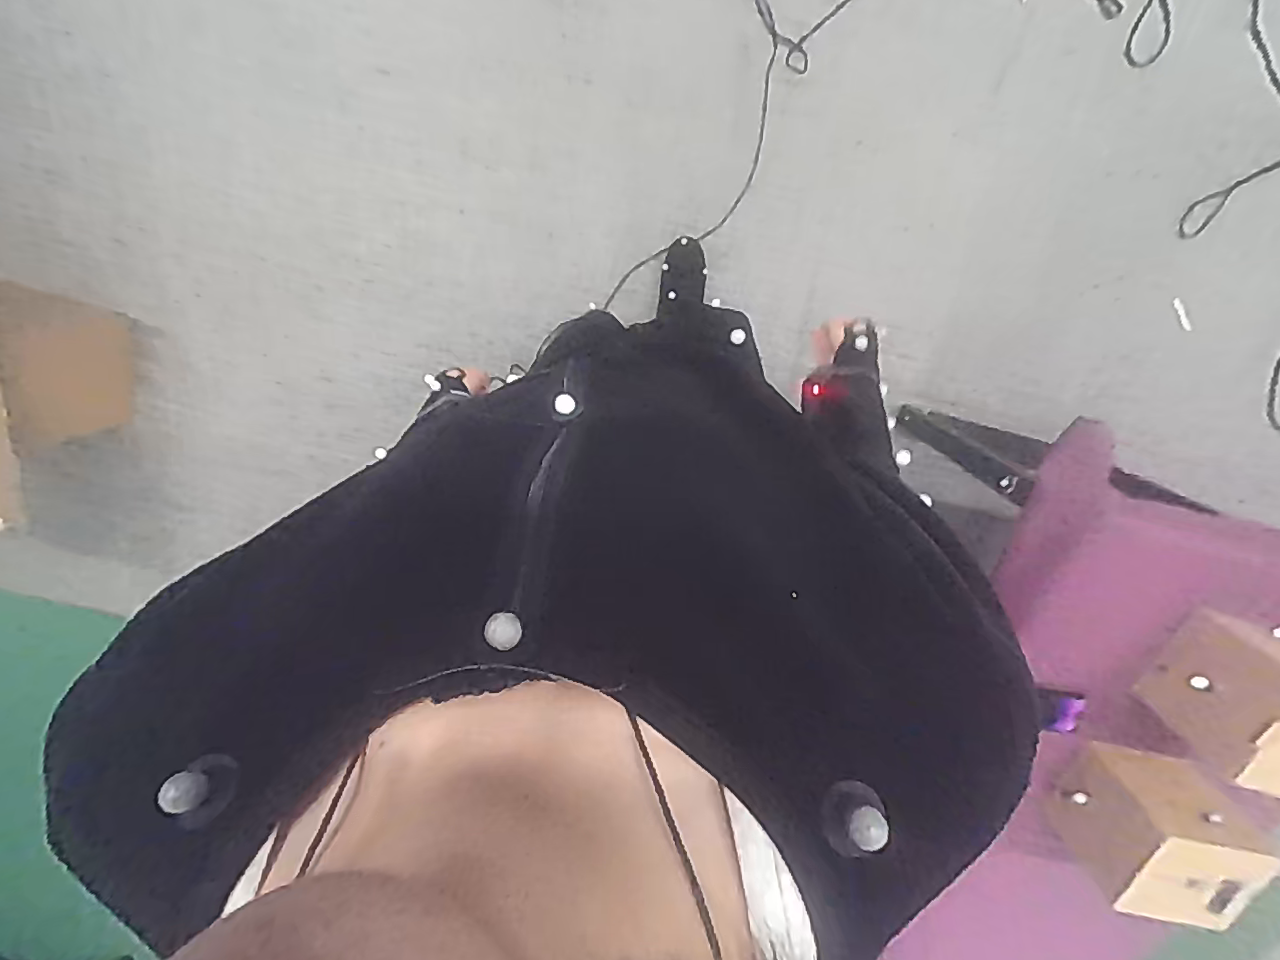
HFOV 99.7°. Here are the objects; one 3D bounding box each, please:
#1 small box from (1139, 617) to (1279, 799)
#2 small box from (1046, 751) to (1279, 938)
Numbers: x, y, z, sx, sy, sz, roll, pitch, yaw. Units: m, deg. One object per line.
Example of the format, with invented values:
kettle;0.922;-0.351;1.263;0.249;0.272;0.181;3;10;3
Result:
small box;0.869;0.316;0.747;0.179;0.176;0.168;17;111;-2
small box;0.800;0.557;0.843;0.179;0.176;0.168;11;111;0
